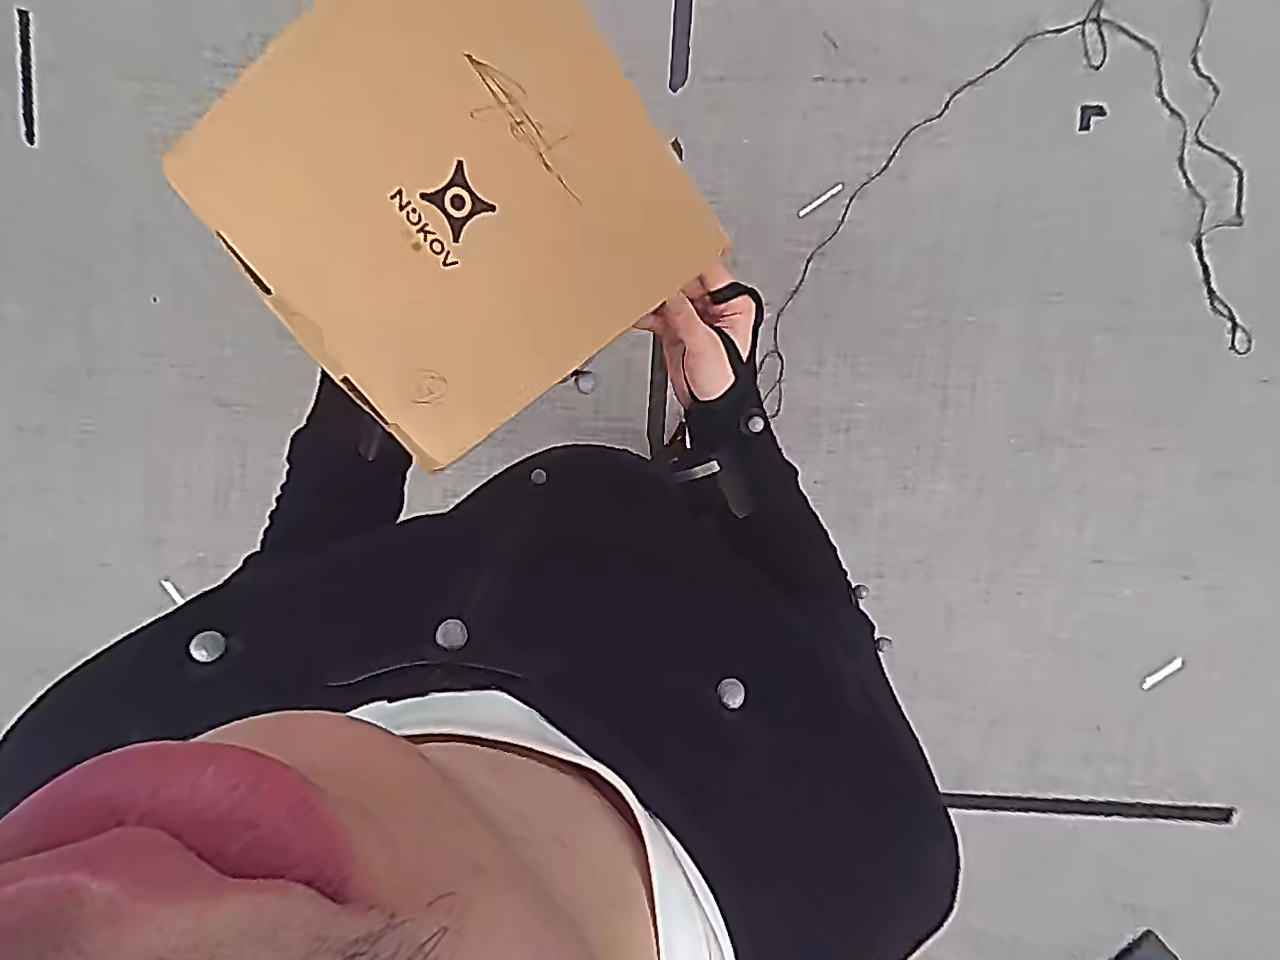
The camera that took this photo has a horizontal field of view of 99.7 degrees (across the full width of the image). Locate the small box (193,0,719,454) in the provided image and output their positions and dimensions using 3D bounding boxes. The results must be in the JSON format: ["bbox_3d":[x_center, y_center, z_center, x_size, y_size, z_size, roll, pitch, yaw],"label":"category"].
[{"bbox_3d":[-0.079,-0.144,0.314,0.179,0.176,0.168,-37,104,9],"label":"small box"}]
